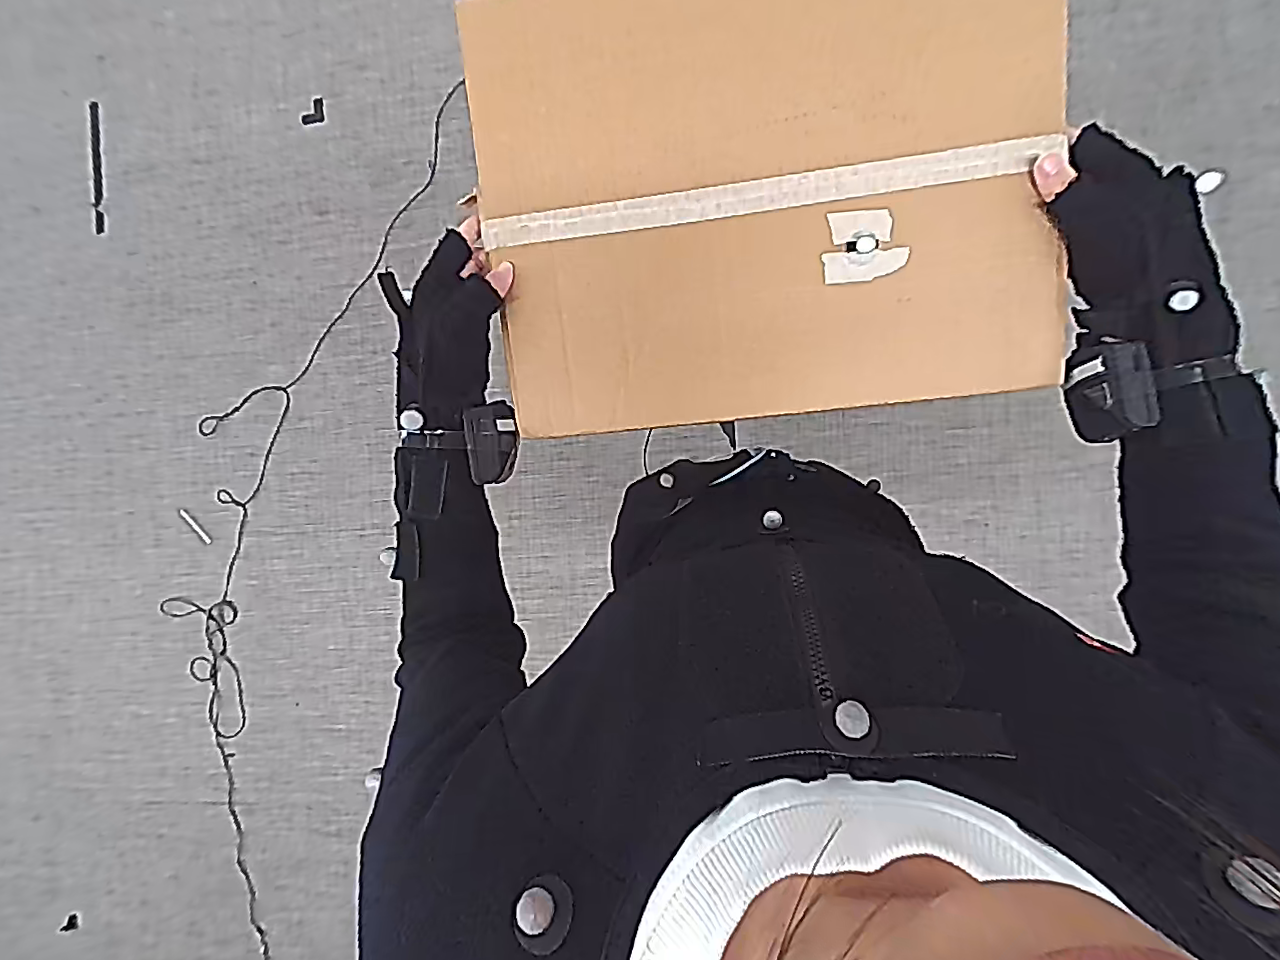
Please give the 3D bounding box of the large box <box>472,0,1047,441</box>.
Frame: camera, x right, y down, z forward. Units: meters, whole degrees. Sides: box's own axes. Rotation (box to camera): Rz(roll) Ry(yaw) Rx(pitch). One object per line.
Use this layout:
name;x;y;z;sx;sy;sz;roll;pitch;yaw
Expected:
large box;0.098;-0.226;0.547;0.408;0.320;0.320;-6;99;5
